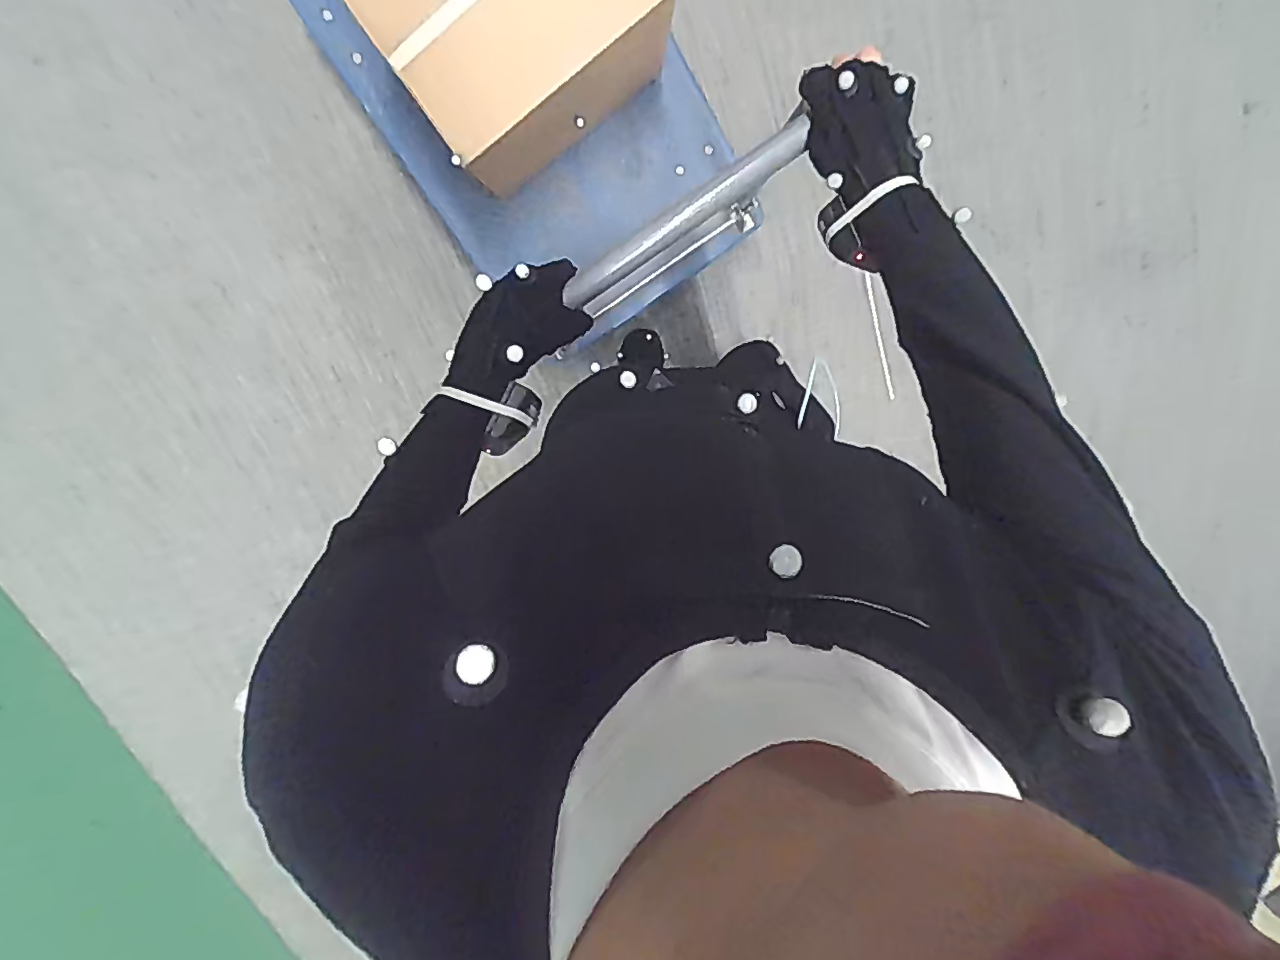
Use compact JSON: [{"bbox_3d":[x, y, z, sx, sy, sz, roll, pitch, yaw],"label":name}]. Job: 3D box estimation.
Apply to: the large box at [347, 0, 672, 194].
[{"bbox_3d":[-0.200,-0.765,0.905,0.408,0.320,0.320,-35,106,9],"label":"large box"}]
